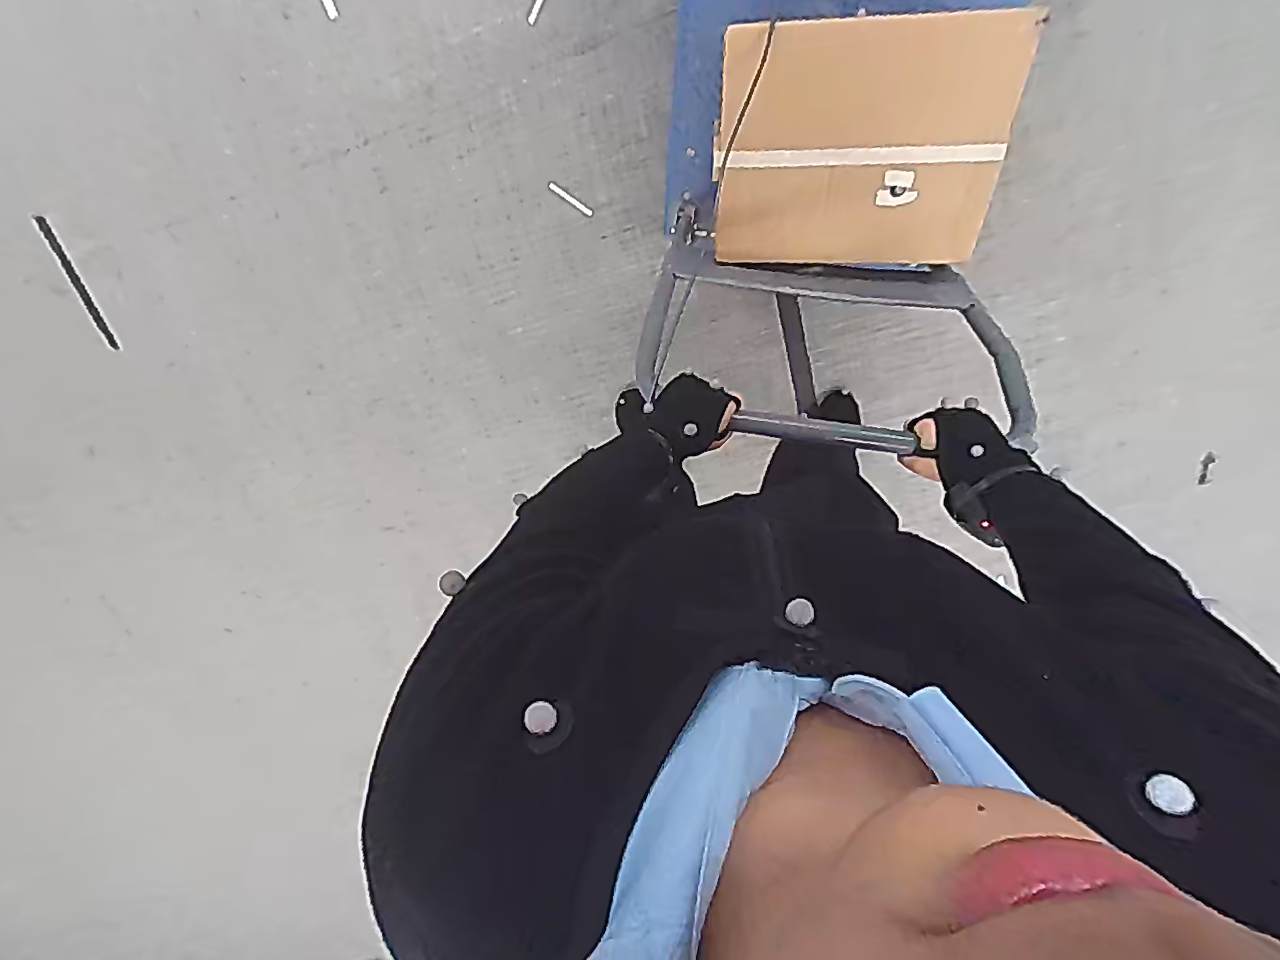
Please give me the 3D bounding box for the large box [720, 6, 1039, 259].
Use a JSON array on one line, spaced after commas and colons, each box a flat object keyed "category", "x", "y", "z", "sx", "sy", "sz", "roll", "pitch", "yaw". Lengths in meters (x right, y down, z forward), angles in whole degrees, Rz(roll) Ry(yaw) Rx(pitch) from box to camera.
[{"category": "large box", "x": 0.345, "y": -0.583, "z": 0.928, "sx": 0.408, "sy": 0.320, "sz": 0.320, "roll": 3, "pitch": 128, "yaw": 8}]
